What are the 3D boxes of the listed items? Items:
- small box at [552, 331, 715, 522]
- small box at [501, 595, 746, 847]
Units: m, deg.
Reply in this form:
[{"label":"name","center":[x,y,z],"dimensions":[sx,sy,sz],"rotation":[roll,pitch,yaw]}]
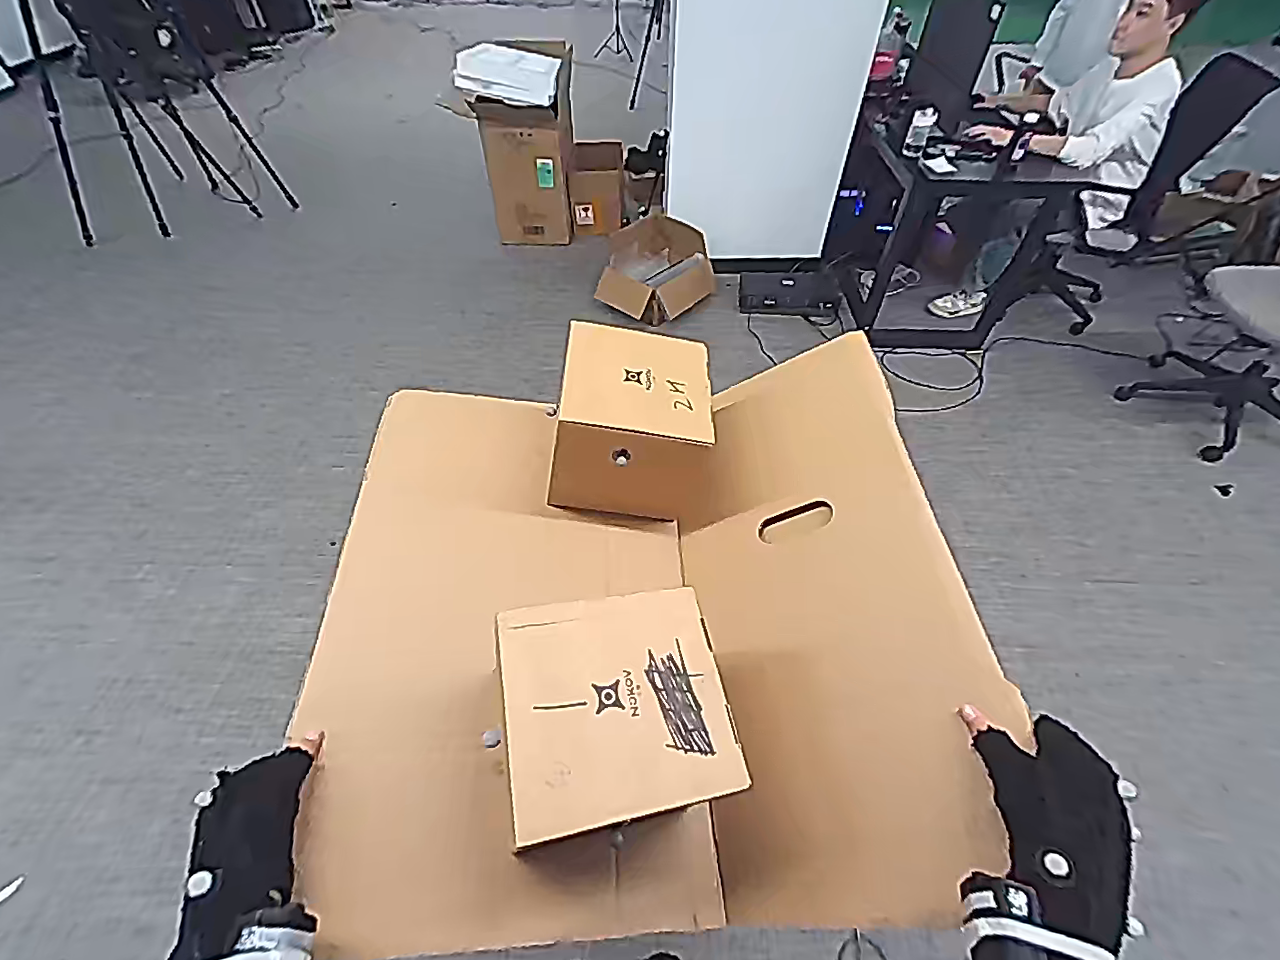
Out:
[{"label":"small box","center":[-0.014,-0.061,0.701],"dimensions":[0.179,0.176,0.168],"rotation":[9,54,-9]},{"label":"small box","center":[-0.032,0.220,0.496],"dimensions":[0.179,0.176,0.168],"rotation":[-3,56,-17]}]
